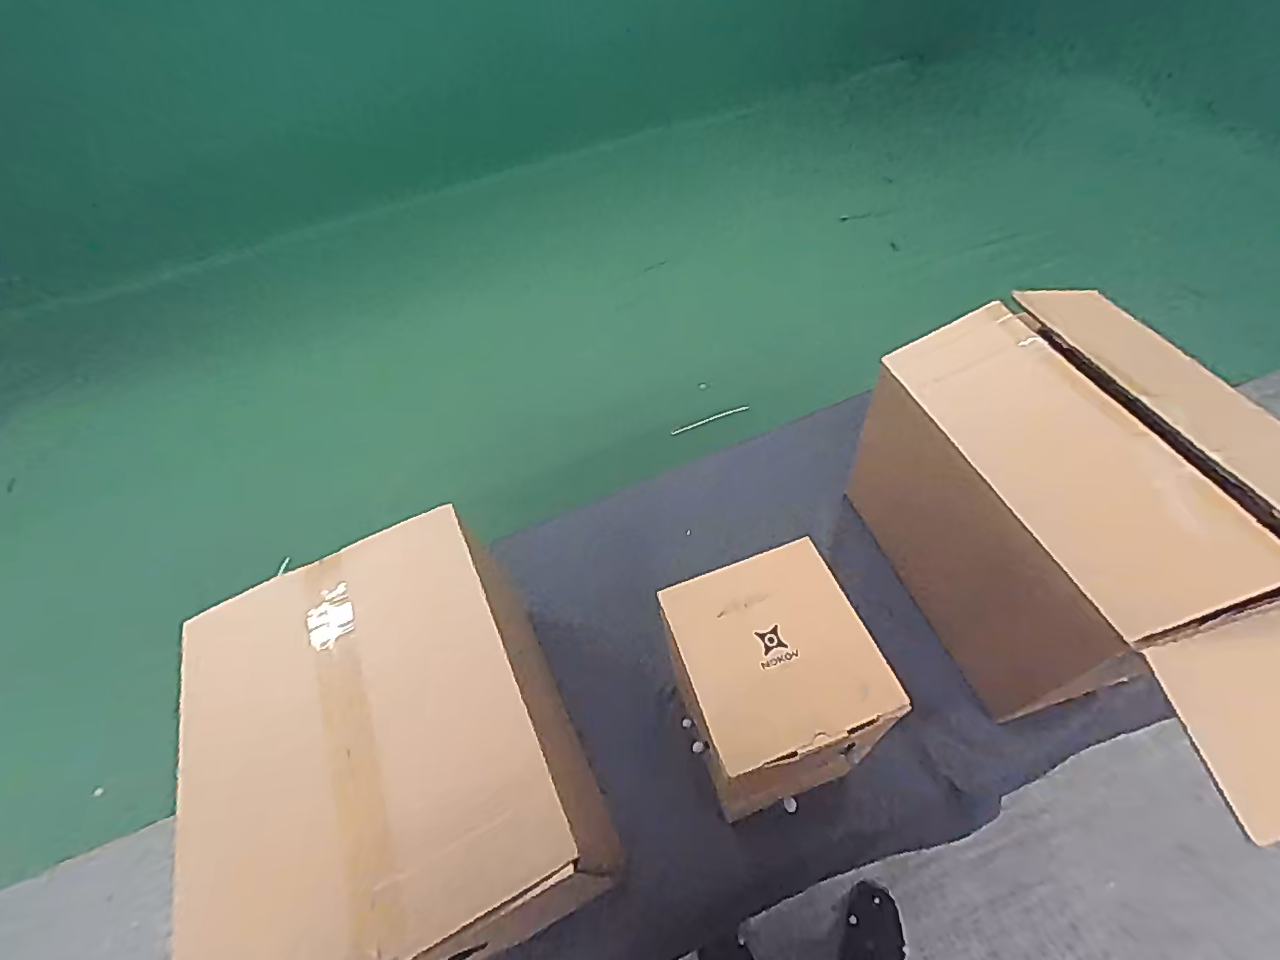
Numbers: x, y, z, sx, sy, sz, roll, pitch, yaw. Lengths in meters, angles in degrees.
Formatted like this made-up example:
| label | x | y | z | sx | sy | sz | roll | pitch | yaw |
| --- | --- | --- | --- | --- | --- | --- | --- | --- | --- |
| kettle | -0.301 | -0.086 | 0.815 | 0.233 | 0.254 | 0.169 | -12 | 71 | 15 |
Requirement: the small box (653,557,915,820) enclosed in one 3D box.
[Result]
| label | x | y | z | sx | sy | sz | roll | pitch | yaw |
| --- | --- | --- | --- | --- | --- | --- | --- | --- | --- |
| small box | 0.124 | 0.209 | 0.527 | 0.168 | 0.176 | 0.179 | -19 | 53 | -6 |
